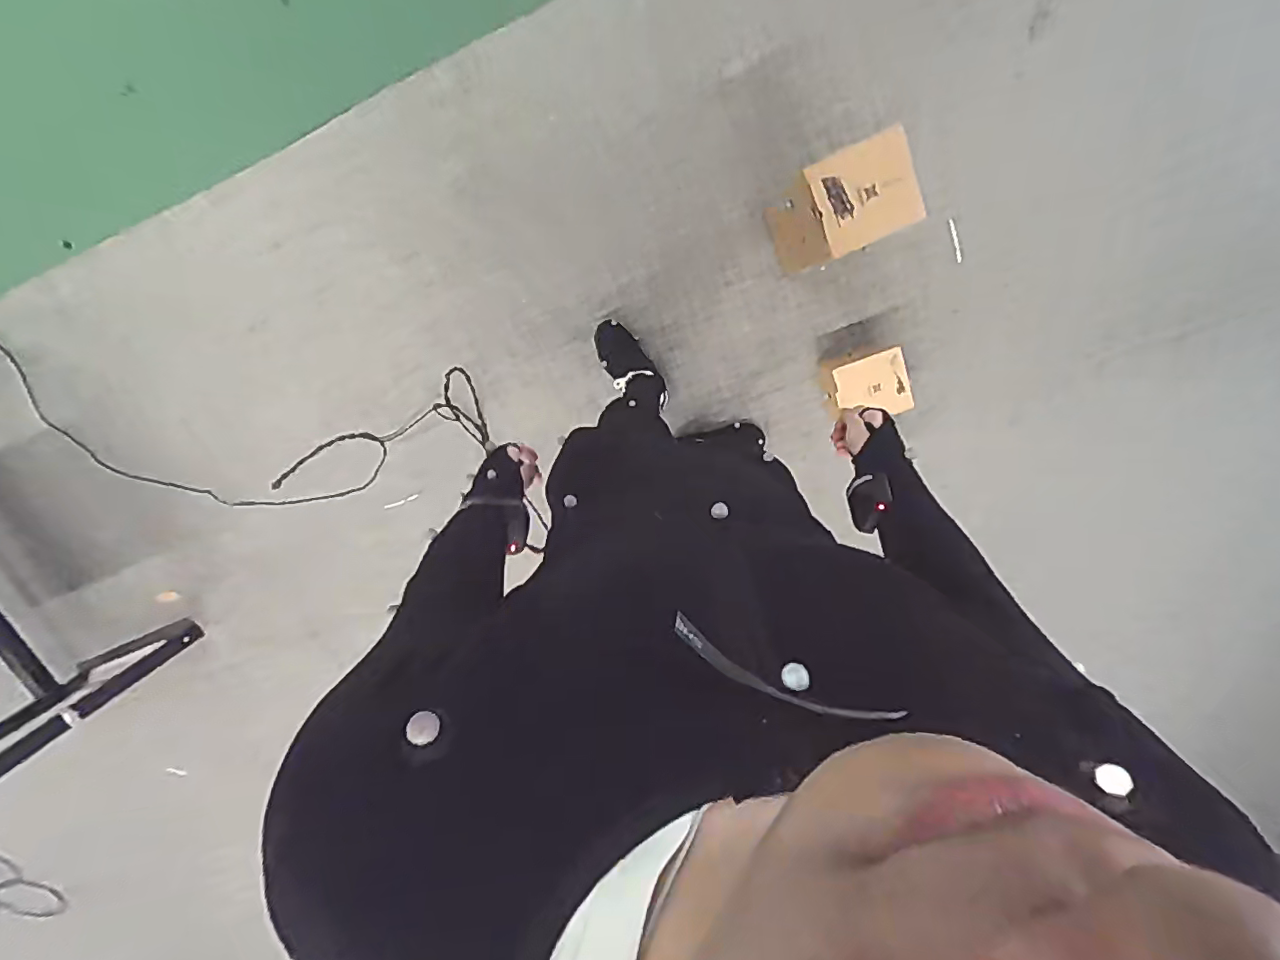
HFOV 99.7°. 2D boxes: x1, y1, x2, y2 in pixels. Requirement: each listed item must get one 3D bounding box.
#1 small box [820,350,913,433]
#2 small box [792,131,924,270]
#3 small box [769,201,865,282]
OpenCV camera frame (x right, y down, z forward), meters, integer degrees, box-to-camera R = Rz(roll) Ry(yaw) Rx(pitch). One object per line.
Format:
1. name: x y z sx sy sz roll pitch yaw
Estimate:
1. small box: 0.596 -0.240 1.450 0.179 0.176 0.168 -18 105 9
2. small box: 0.405 -0.521 1.040 0.179 0.176 0.168 -22 103 8
3. small box: 0.435 -0.614 1.355 0.168 0.176 0.179 -20 105 9
